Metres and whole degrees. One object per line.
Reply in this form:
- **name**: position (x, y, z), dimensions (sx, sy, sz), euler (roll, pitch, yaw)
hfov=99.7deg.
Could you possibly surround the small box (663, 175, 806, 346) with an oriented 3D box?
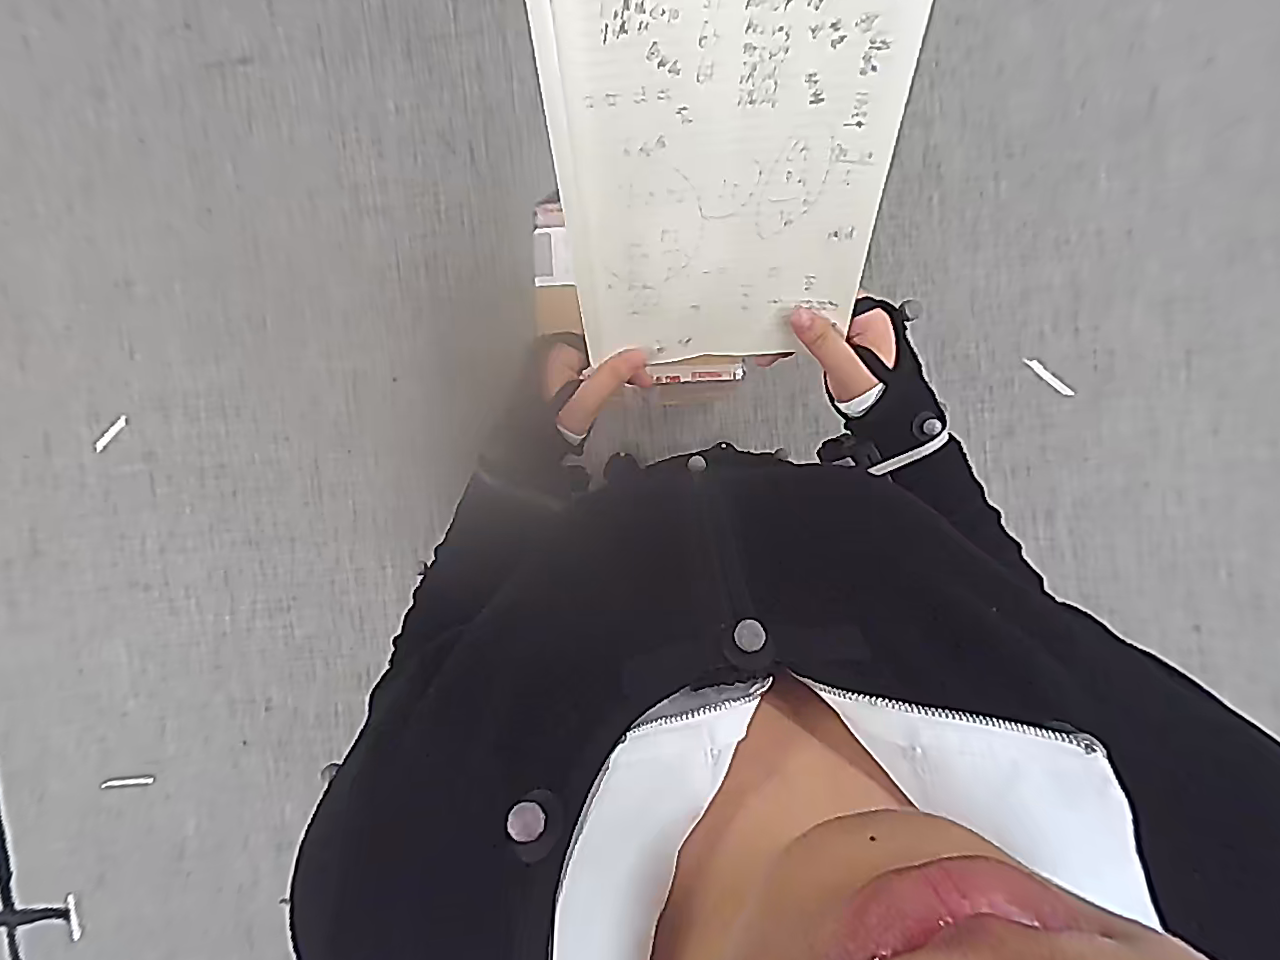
- **small box**: position (0.124, -0.300, 0.770), dimensions (0.168, 0.176, 0.179), euler (-5, 93, -1)

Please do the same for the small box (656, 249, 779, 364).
- **small box**: position (0.126, -0.302, 0.934), dimensions (0.179, 0.176, 0.168), euler (-8, 93, 1)
